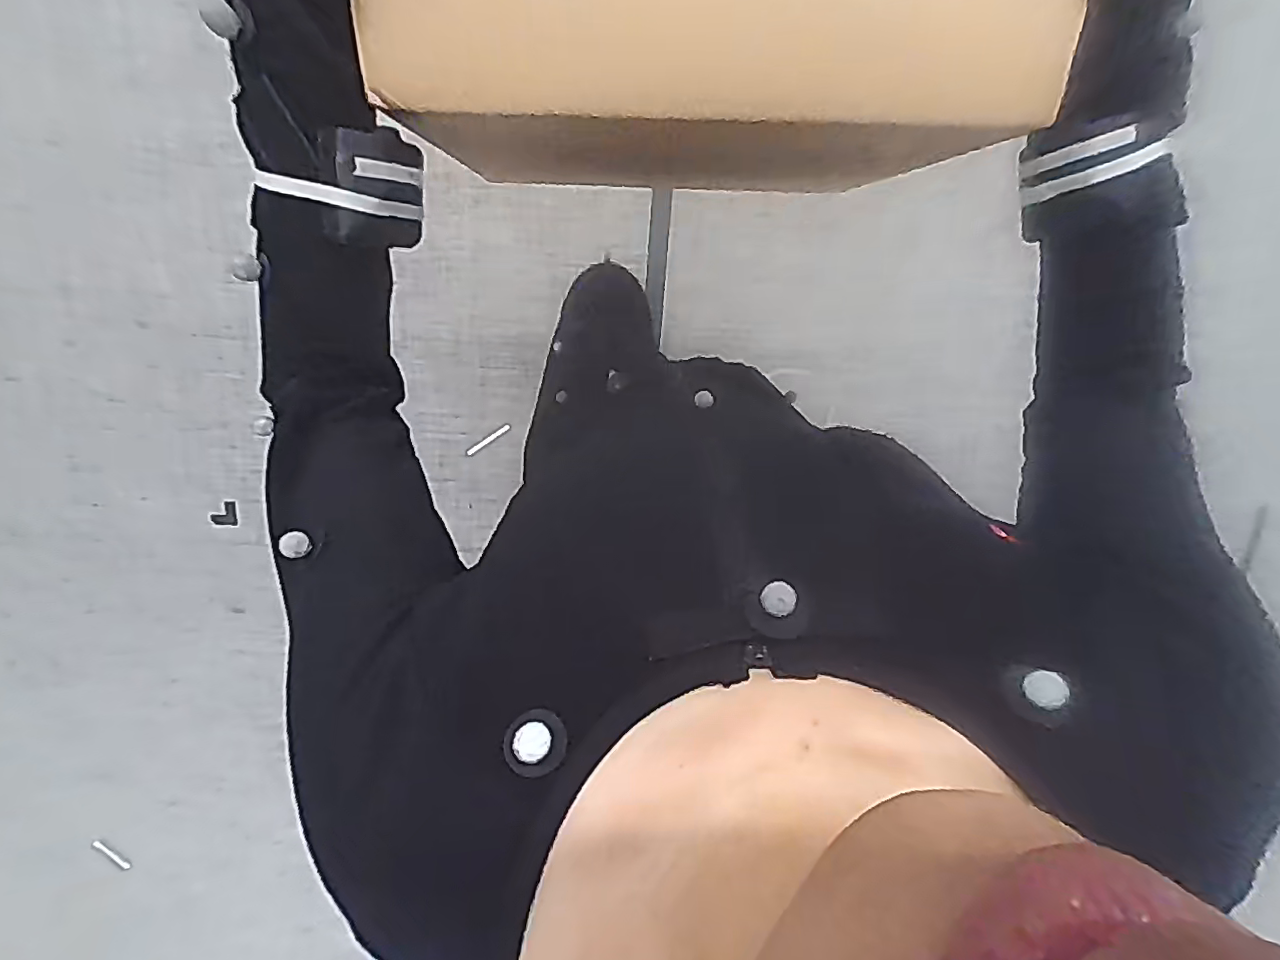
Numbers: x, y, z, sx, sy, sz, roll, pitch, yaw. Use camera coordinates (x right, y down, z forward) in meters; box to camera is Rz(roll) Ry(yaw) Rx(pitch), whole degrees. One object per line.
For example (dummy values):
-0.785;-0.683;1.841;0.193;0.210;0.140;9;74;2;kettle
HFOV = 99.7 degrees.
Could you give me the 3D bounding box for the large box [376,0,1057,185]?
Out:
0.040;-0.423;0.413;0.408;0.320;0.320;0;112;-3;large box
